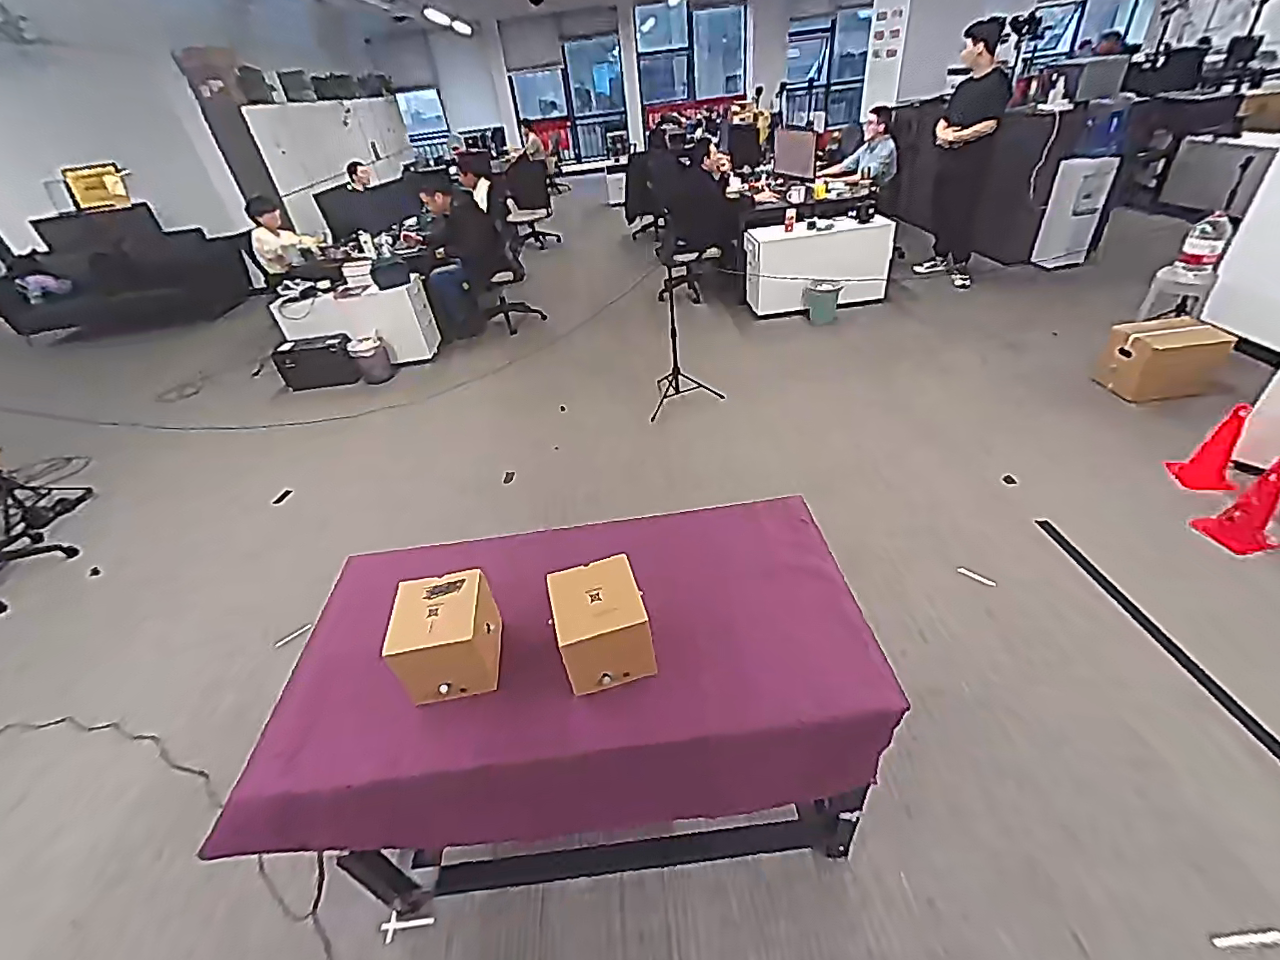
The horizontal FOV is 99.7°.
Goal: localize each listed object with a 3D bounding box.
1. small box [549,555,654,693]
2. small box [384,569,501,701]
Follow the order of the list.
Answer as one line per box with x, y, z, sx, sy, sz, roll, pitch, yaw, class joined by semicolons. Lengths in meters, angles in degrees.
-0.077;0.282;1.065;0.168;0.176;0.179;-14;37;-8;small box
-0.381;0.308;1.081;0.168;0.176;0.179;-10;37;-3;small box
